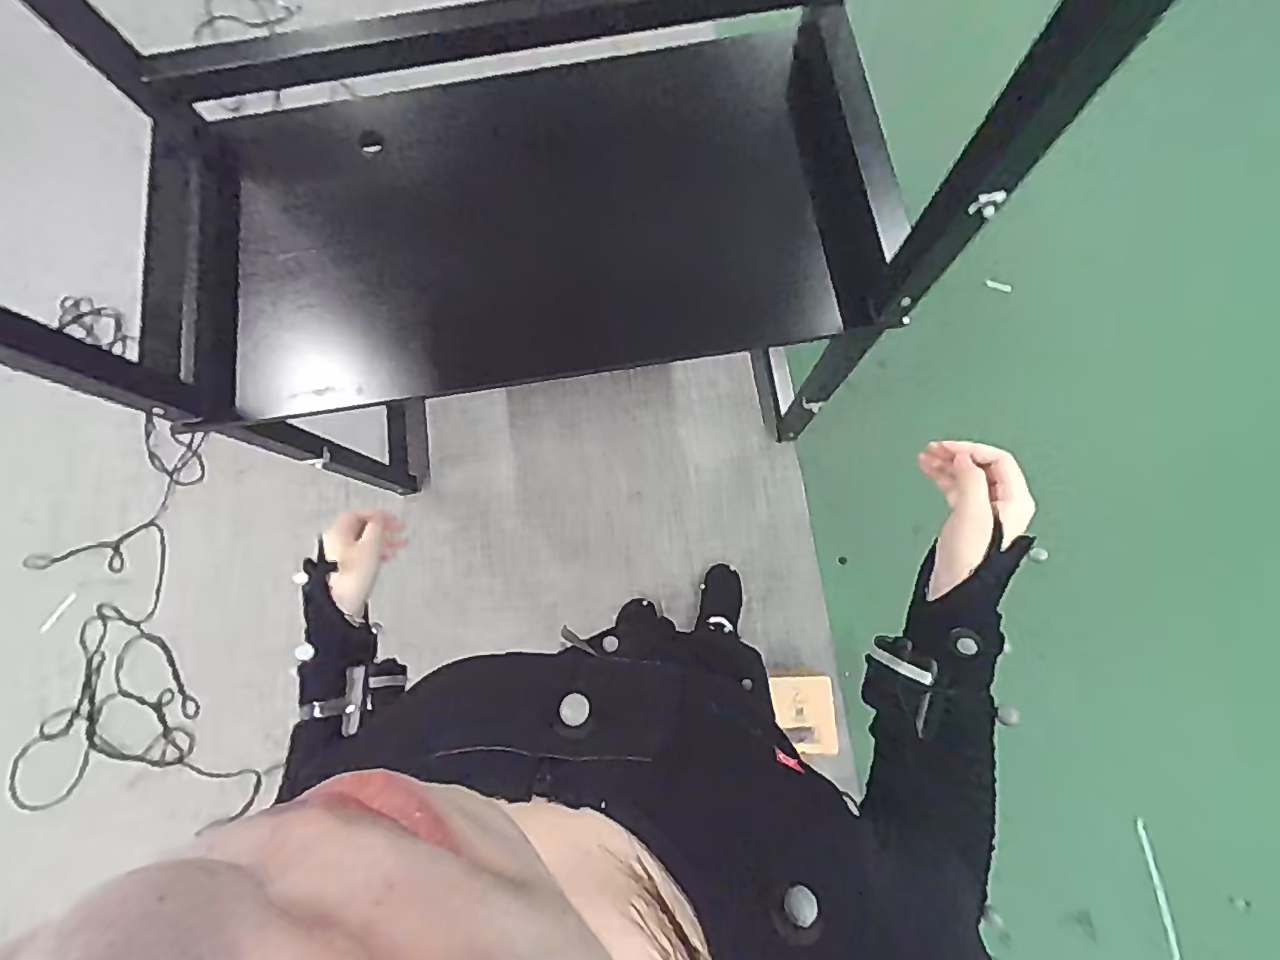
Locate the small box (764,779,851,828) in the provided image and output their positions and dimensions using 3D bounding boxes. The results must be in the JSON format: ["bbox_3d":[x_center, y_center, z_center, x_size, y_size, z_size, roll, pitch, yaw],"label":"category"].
[{"bbox_3d":[0.406,0.841,1.290,0.168,0.176,0.179,-15,80,1],"label":"small box"}]
